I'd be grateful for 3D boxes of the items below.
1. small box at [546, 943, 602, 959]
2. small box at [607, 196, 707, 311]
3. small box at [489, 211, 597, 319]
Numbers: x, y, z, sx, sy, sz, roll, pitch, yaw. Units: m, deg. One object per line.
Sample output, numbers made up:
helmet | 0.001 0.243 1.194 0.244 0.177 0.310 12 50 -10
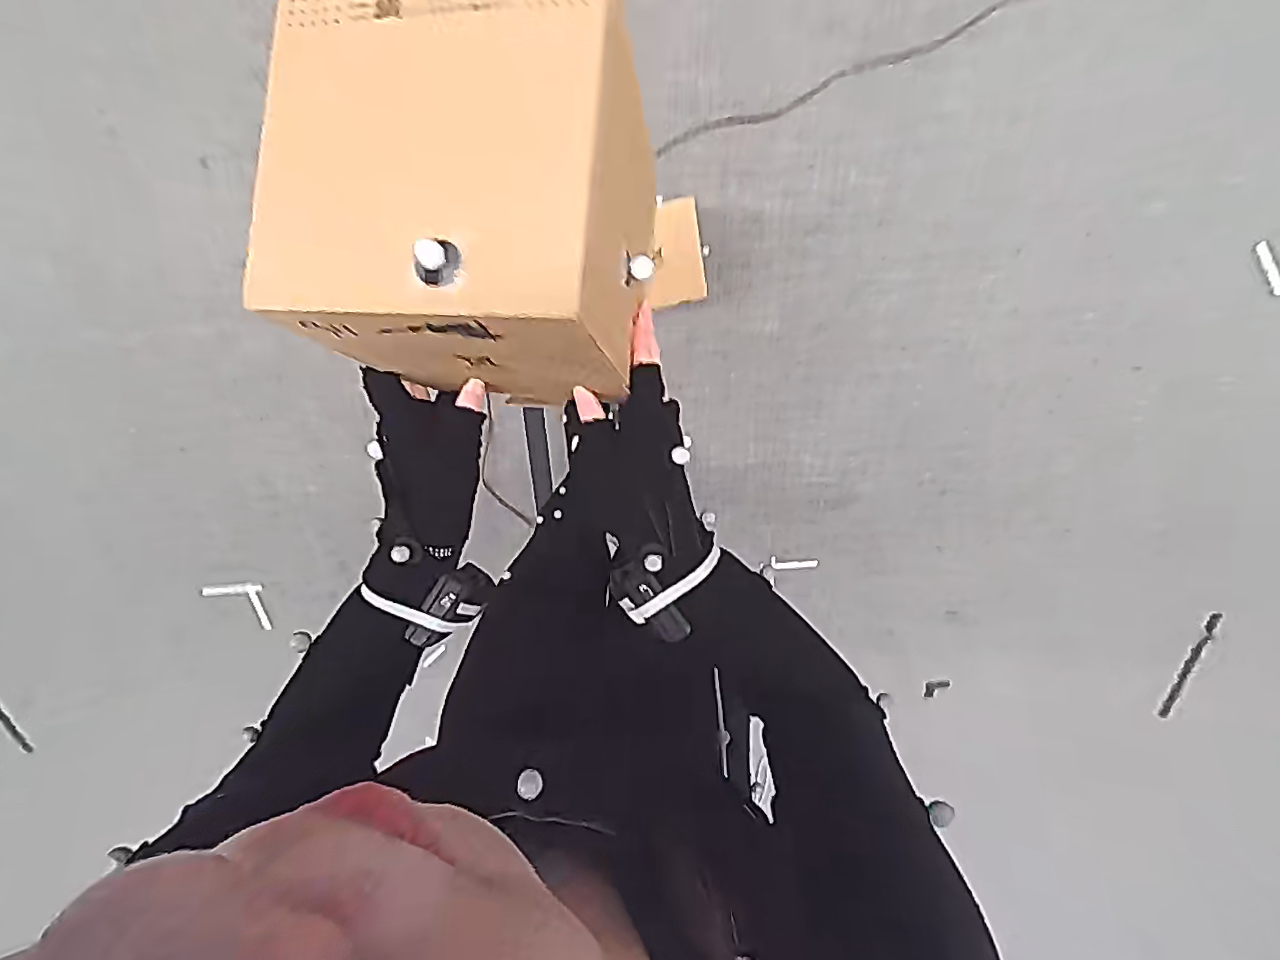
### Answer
small box | -0.199 1.519 1.599 0.168 0.176 0.179 0 114 1
small box | 0.033 -0.448 1.075 0.168 0.176 0.179 -10 115 5
small box | -0.184 -0.433 1.085 0.168 0.176 0.179 -7 114 3
